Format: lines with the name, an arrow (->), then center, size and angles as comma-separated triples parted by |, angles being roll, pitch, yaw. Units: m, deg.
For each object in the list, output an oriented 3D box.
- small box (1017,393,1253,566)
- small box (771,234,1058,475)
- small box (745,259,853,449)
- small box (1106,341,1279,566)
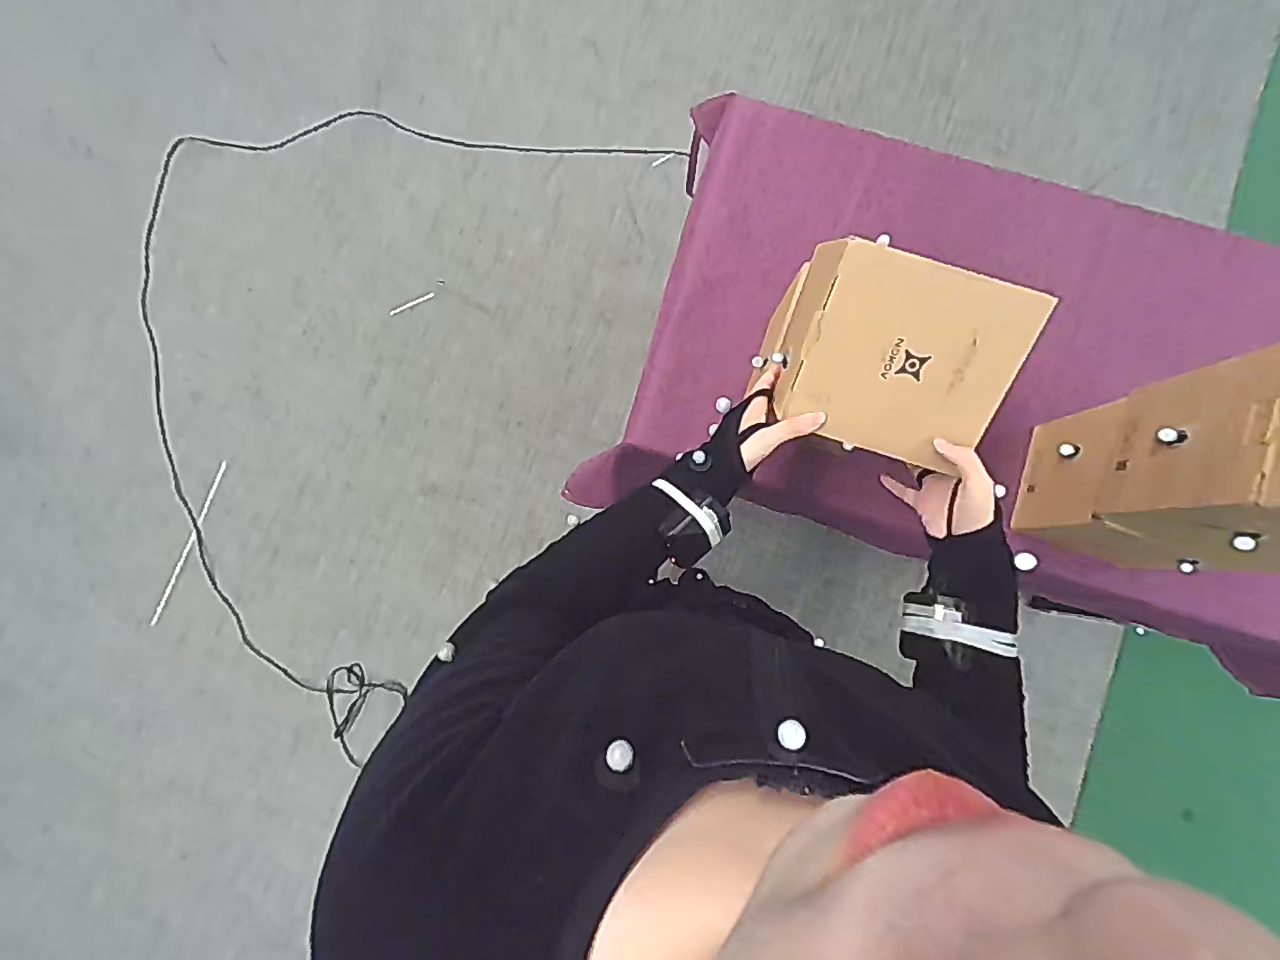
small box -> 0.647, 0.008, 0.713 | 0.179, 0.176, 0.168 | 19, 84, 2
small box -> 0.241, -0.130, 0.536 | 0.179, 0.176, 0.168 | 18, 114, 2
small box -> 0.252, -0.155, 0.731 | 0.168, 0.176, 0.179 | 20, 84, 2
small box -> 0.640, -0.014, 0.550 | 0.179, 0.176, 0.168 | 22, 84, 3
